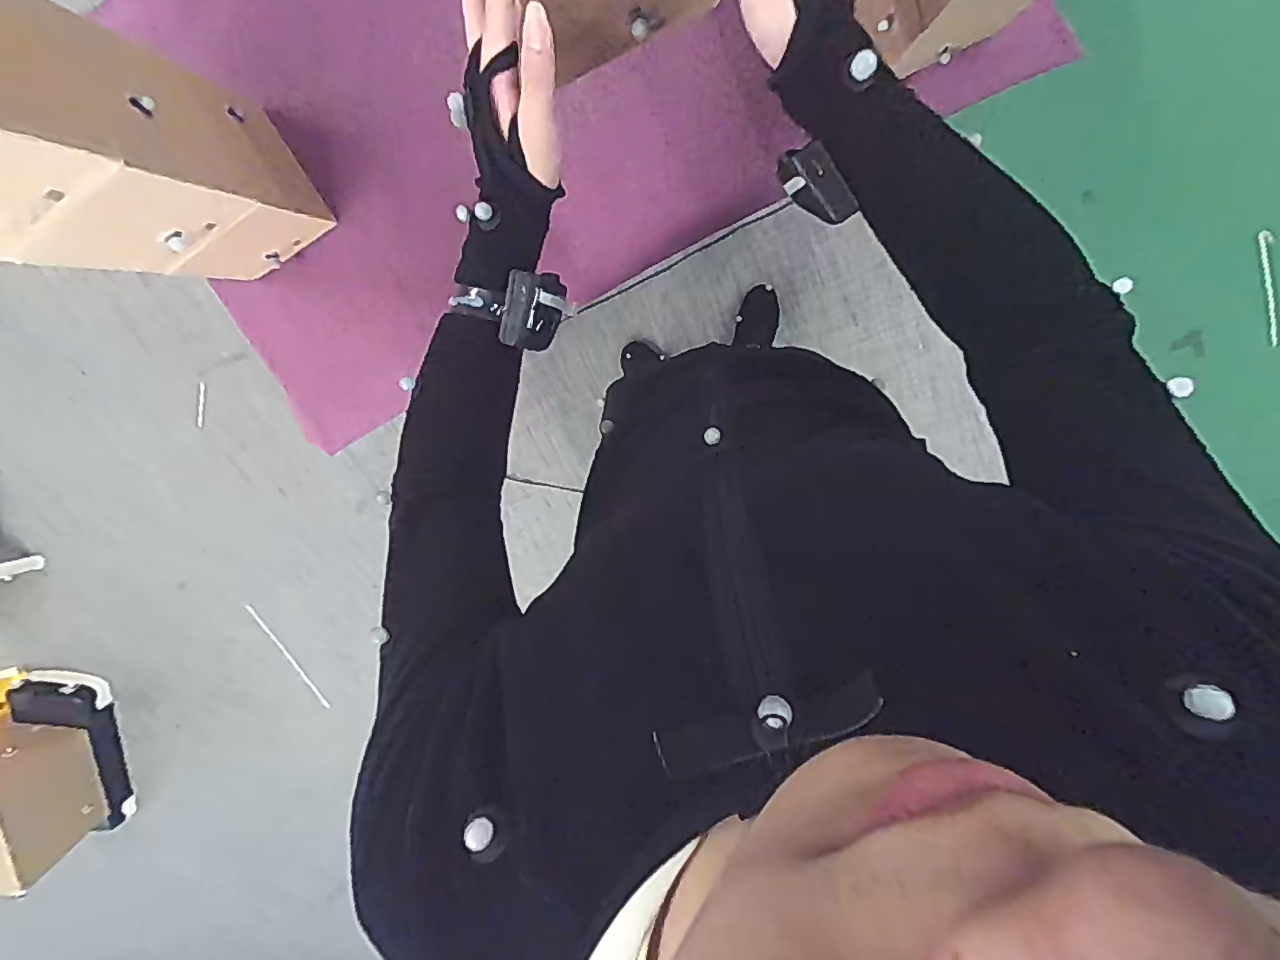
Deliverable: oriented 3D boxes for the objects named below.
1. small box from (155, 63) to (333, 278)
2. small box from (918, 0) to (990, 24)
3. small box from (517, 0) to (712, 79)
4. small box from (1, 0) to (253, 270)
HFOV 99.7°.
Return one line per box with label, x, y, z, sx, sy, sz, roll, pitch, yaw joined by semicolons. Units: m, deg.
small box;-0.564;-0.389;0.722;0.168;0.176;0.179;-27;105;11
small box;0.331;-0.550;0.453;0.168;0.176;0.179;-21;104;10
small box;-0.036;-0.438;0.378;0.168;0.176;0.179;-24;106;6
small box;-0.571;-0.341;0.565;0.168;0.176;0.179;-28;105;11
